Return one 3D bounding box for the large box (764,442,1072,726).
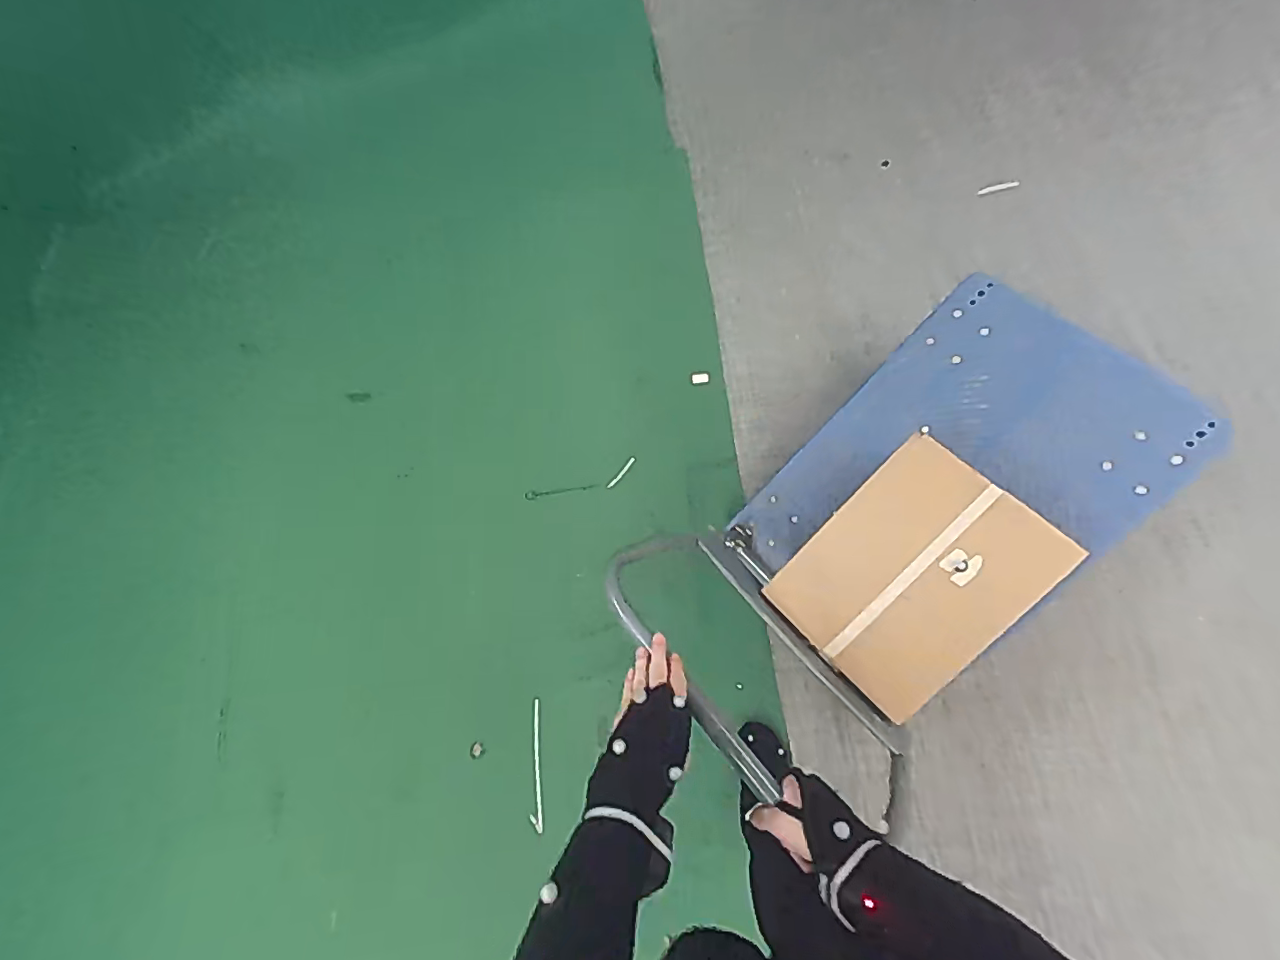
[{"bbox_3d":[0.516,0.199,1.076,0.408,0.320,0.320,-48,68,10],"label":"large box"}]
